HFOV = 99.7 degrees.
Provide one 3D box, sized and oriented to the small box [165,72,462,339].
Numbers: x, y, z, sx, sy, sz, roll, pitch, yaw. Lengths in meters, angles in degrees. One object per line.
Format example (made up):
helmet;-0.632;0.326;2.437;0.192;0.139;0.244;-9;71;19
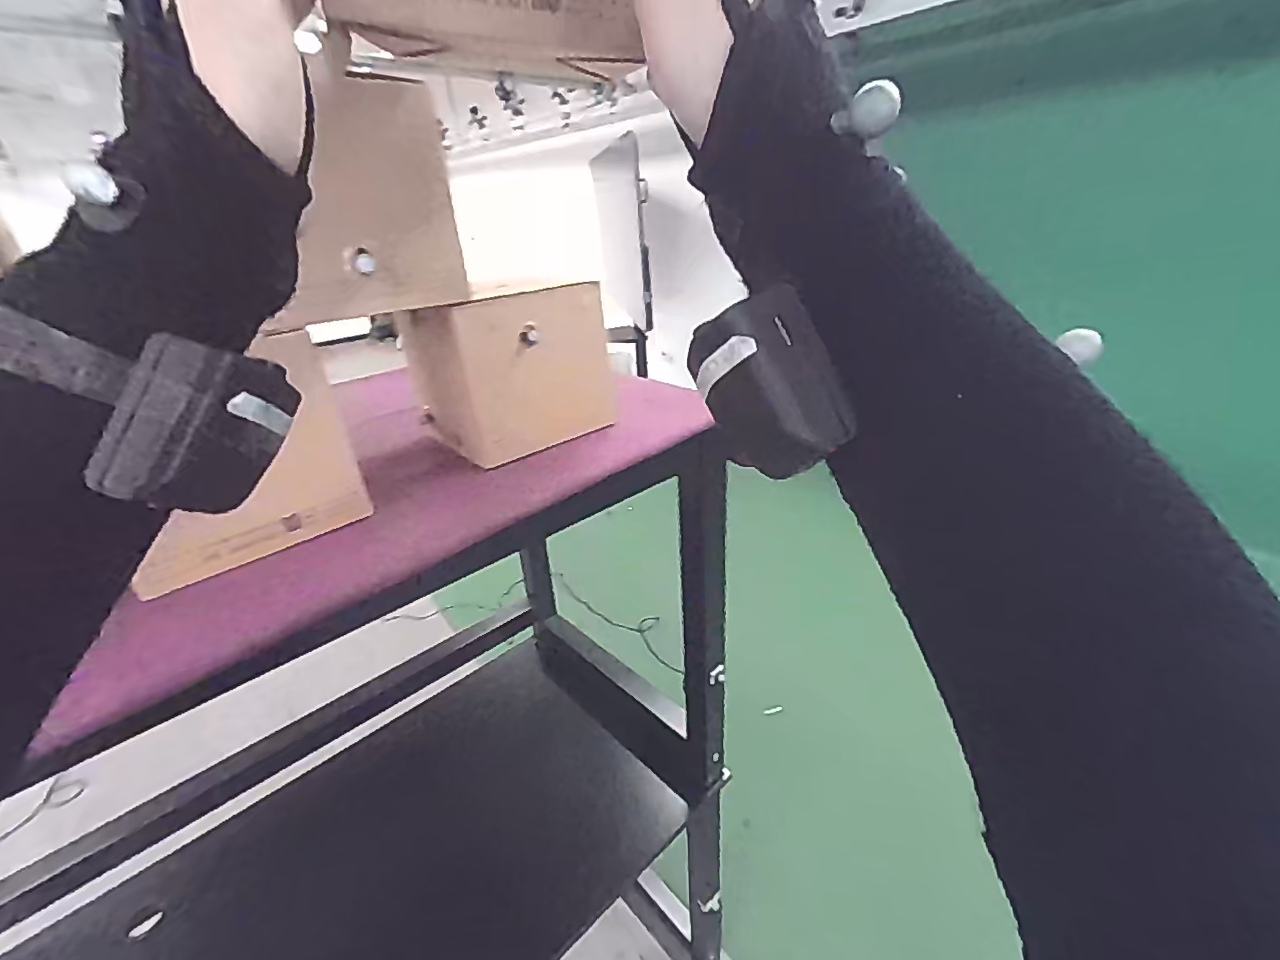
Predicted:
small box;-0.273;-0.230;0.475;0.179;0.176;0.168;-23;31;-35

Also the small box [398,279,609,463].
small box;-0.153;-0.135;0.634;0.179;0.176;0.168;-25;33;-36

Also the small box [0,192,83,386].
small box;-0.483;-0.136;0.321;0.168;0.176;0.179;-26;33;-35

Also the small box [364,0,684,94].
small box;-0.065;-0.328;0.306;0.168;0.176;0.179;-1;33;-11
